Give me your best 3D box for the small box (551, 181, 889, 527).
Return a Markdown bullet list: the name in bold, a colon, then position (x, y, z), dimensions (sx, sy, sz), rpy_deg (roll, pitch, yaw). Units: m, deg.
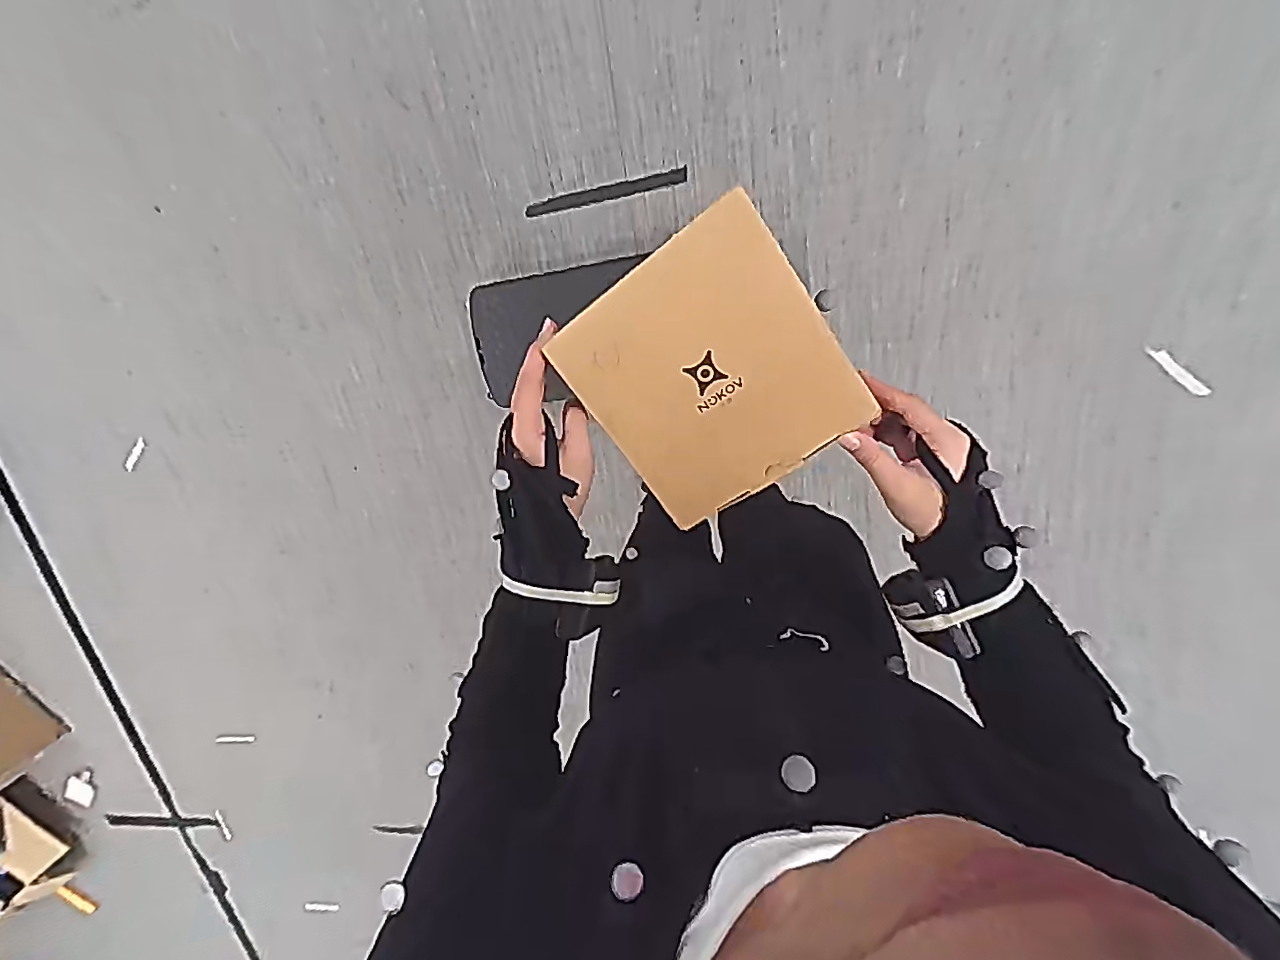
- **small box**: position (0.060, -0.100, 0.436), dimensions (0.168, 0.176, 0.179), rpy_deg (-34, 106, 19)
